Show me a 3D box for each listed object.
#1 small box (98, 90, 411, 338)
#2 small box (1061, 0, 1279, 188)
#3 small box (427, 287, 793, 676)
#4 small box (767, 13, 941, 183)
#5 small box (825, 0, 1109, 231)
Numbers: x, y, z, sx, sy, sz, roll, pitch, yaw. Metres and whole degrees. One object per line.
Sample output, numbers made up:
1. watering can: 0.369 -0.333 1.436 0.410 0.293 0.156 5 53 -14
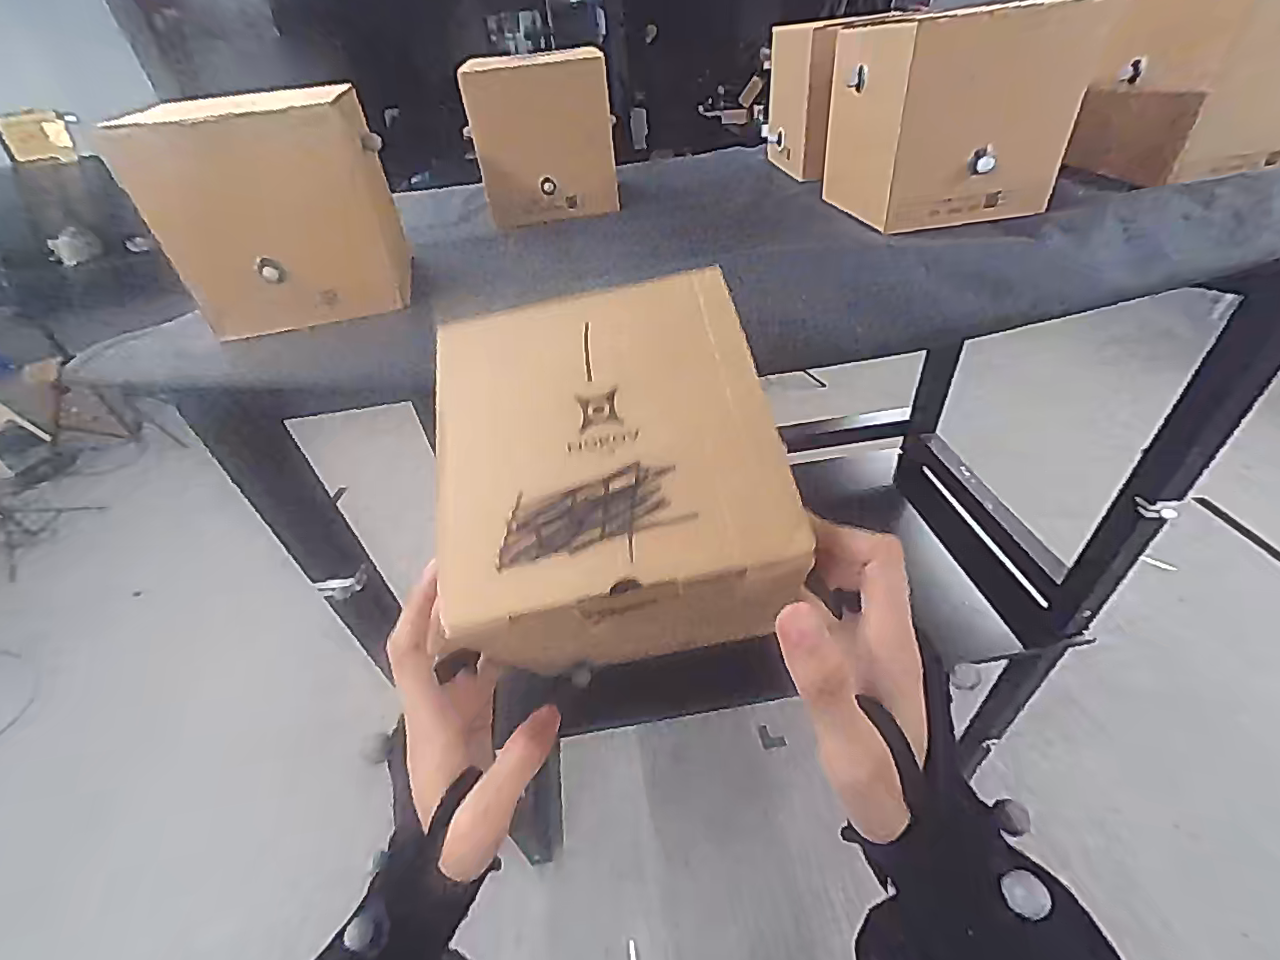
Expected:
1. small box: -0.330 -0.256 0.514 0.168 0.176 0.179 -15 42 -10
2. small box: 0.607 -0.424 0.577 0.168 0.176 0.179 -7 39 1
3. small box: -0.015 0.018 0.339 0.168 0.176 0.179 -12 62 2
4. small box: 0.285 -0.528 0.749 0.179 0.176 0.168 -8 39 -1
5. small box: 0.304 -0.369 0.556 0.168 0.176 0.179 -8 39 0
